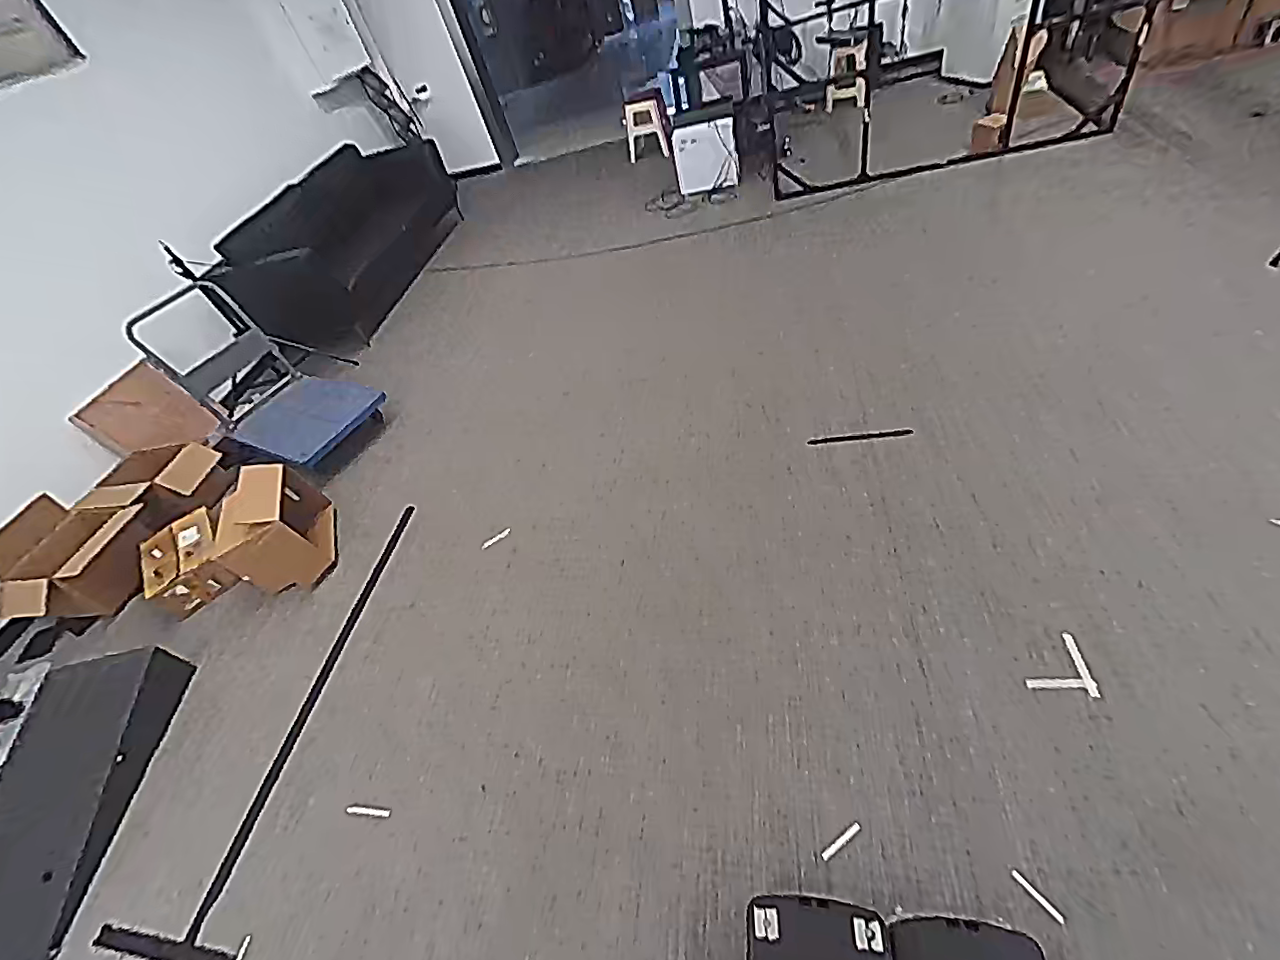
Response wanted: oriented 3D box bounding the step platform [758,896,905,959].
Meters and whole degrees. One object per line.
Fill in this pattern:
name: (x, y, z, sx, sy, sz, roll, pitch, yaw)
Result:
step platform: (0.363, 1.162, 0.951, 0.286, 0.204, 0.684, -4, 46, 14)
